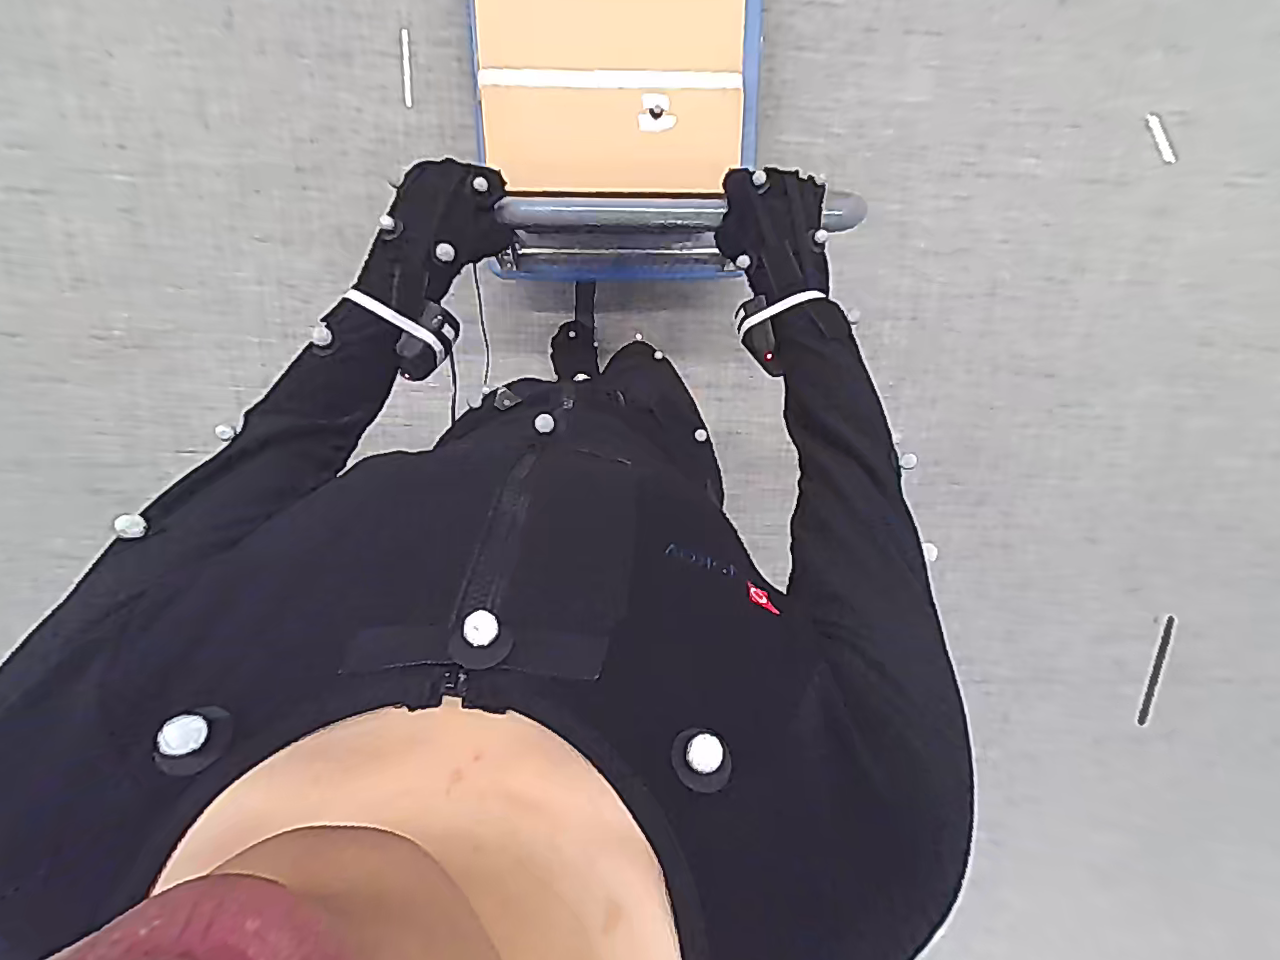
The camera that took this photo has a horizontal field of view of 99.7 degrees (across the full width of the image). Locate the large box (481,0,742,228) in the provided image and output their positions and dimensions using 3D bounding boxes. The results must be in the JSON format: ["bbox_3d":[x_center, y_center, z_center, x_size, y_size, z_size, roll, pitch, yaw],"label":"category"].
[{"bbox_3d":[-0.050,-0.661,0.990,0.408,0.320,0.320,-2,105,-4],"label":"large box"}]
